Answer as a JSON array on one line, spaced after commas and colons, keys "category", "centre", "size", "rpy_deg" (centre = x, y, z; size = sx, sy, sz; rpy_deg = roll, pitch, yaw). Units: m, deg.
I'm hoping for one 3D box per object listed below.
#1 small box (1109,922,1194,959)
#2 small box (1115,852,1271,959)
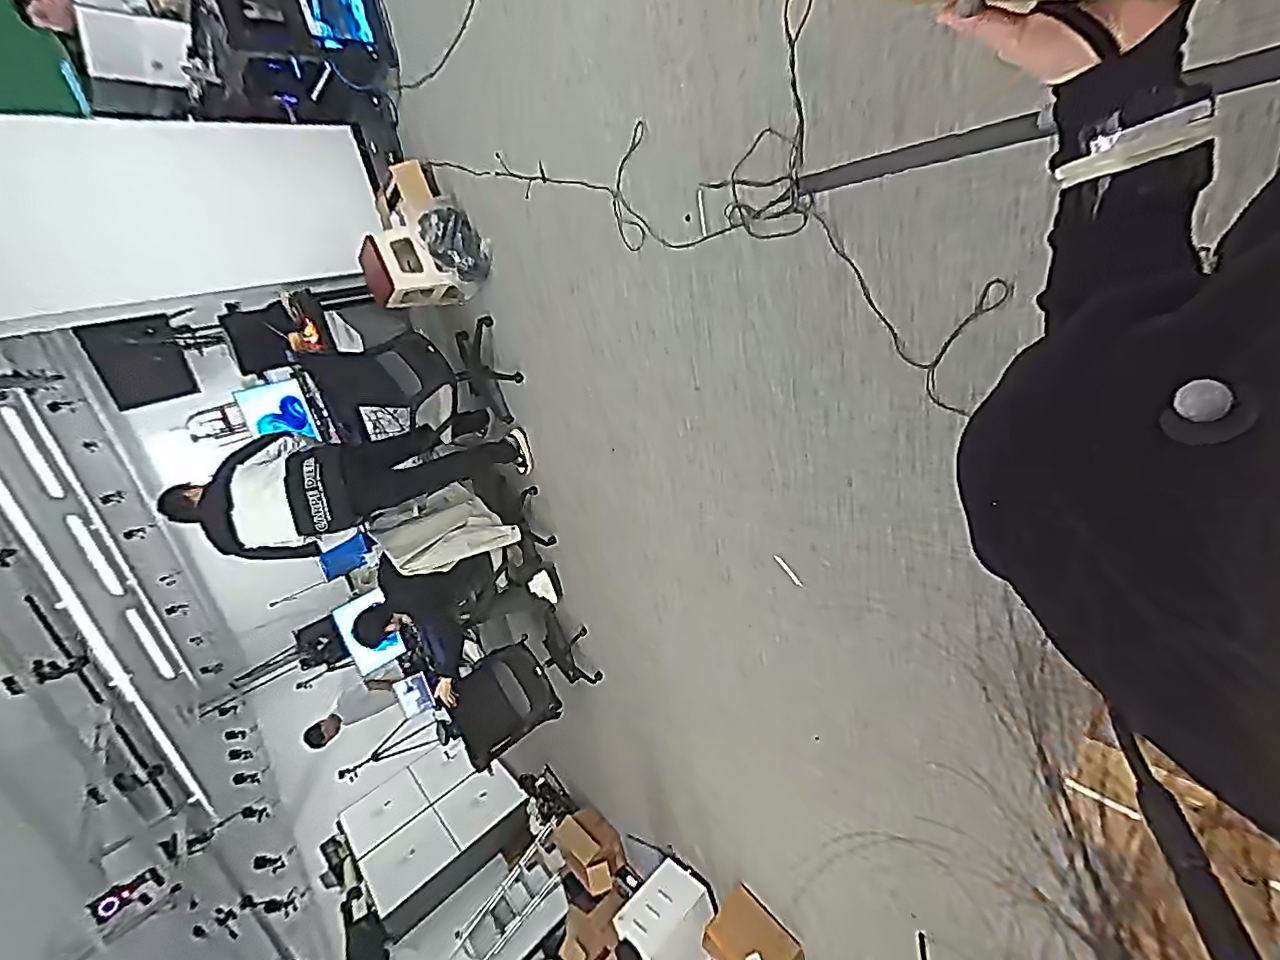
[{"category": "small box", "centre": [0.854, 0.879, 0.869], "size": [0.168, 0.176, 0.179], "rpy_deg": [16, 125, 45]}, {"category": "small box", "centre": [0.974, 0.821, 0.962], "size": [0.168, 0.176, 0.179], "rpy_deg": [19, 126, 44]}]
